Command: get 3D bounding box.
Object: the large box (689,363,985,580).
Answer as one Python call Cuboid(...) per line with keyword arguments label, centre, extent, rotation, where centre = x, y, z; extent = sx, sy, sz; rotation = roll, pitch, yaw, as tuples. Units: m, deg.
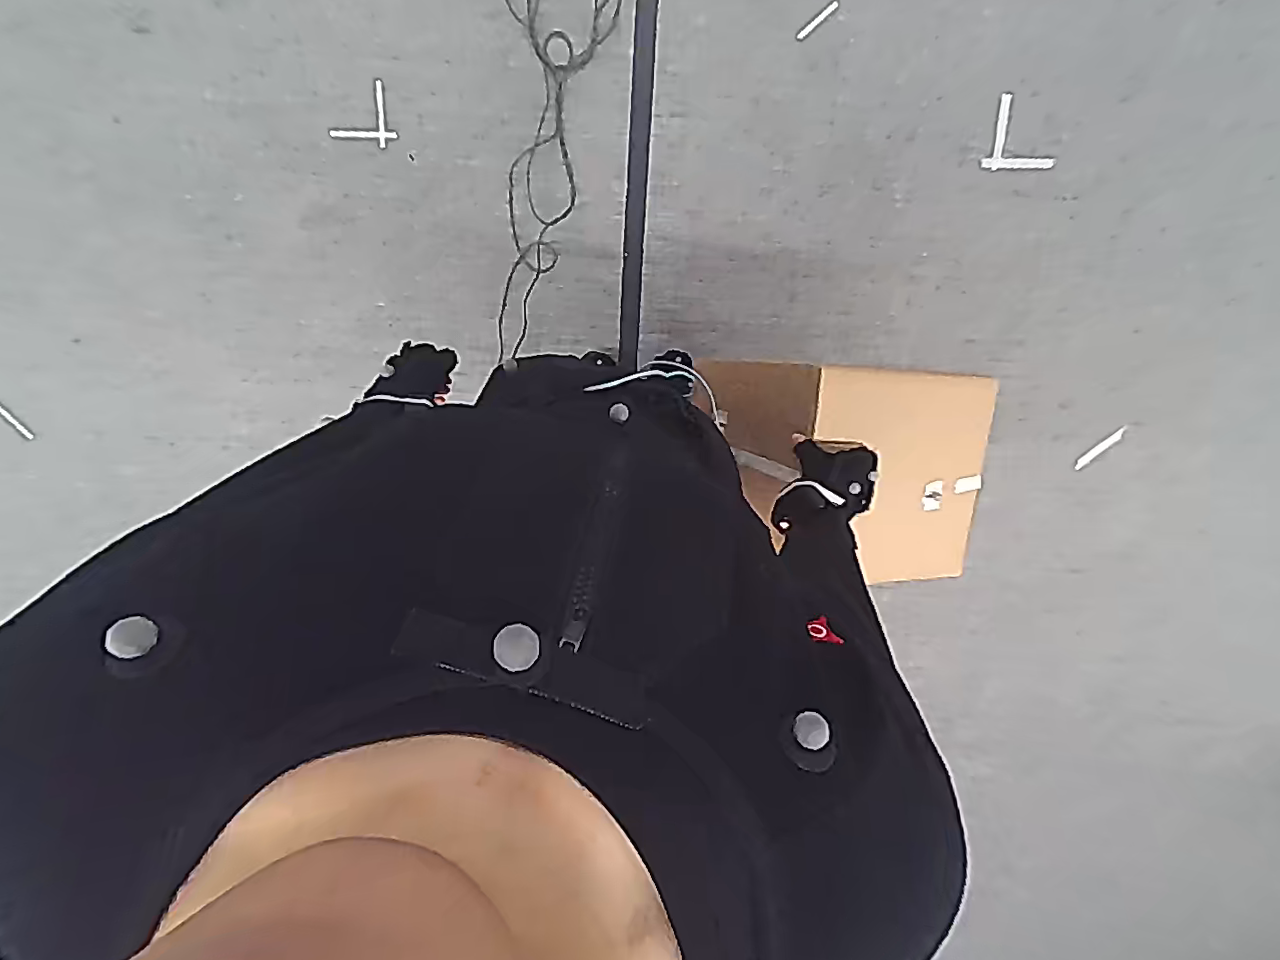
Cuboid(label="large box", centre=(0.314, -0.042, 0.974), extent=(0.320, 0.408, 0.320), rotation=(1, 102, -18))
